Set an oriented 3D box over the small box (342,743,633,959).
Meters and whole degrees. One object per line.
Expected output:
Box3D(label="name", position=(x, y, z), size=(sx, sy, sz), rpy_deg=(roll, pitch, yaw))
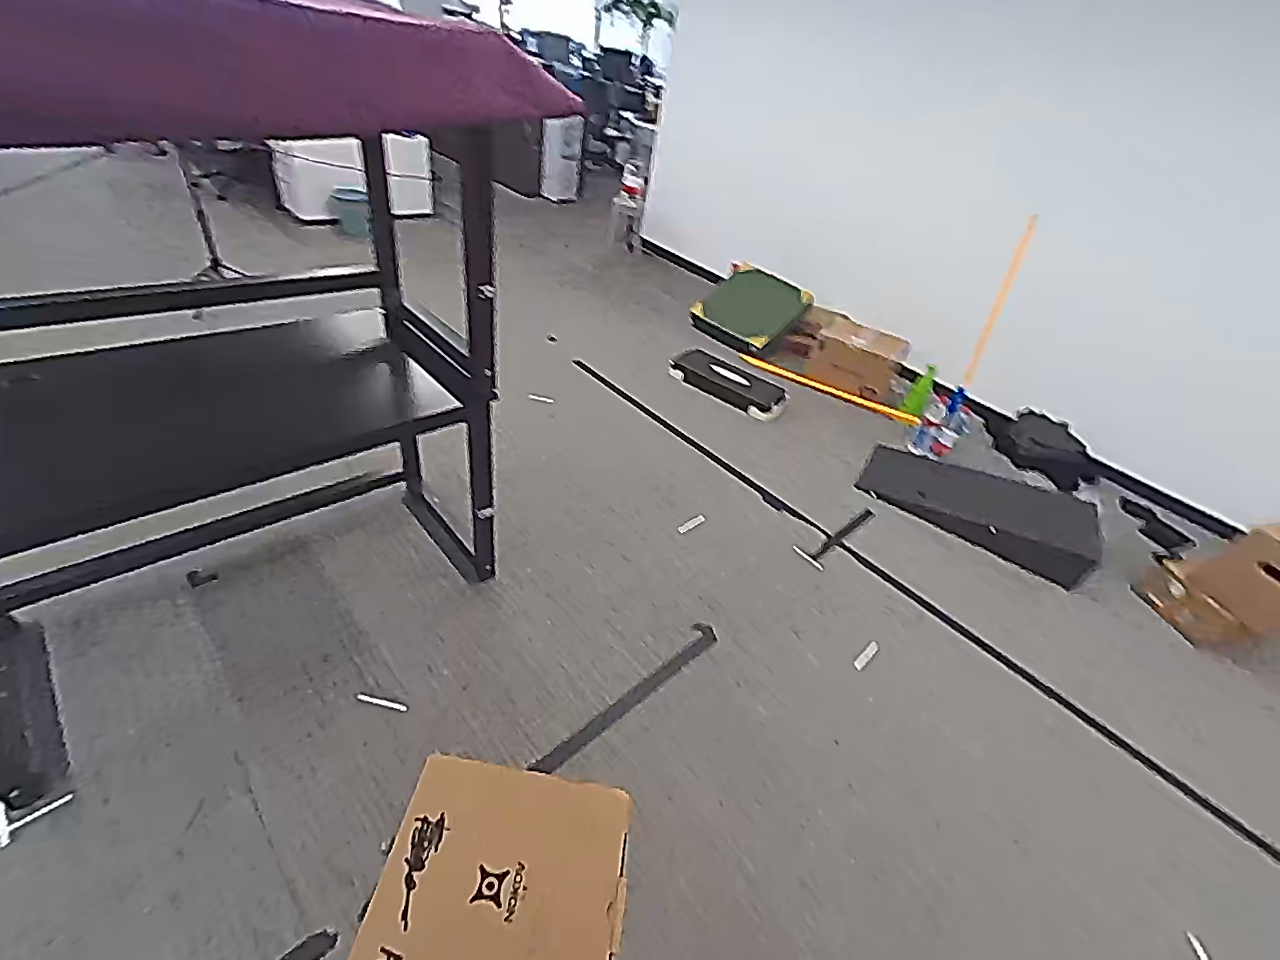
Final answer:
Box3D(label="small box", position=(-0.115, 0.348, 0.442), size=(0.179, 0.176, 0.168), rpy_deg=(13, 40, -2))
